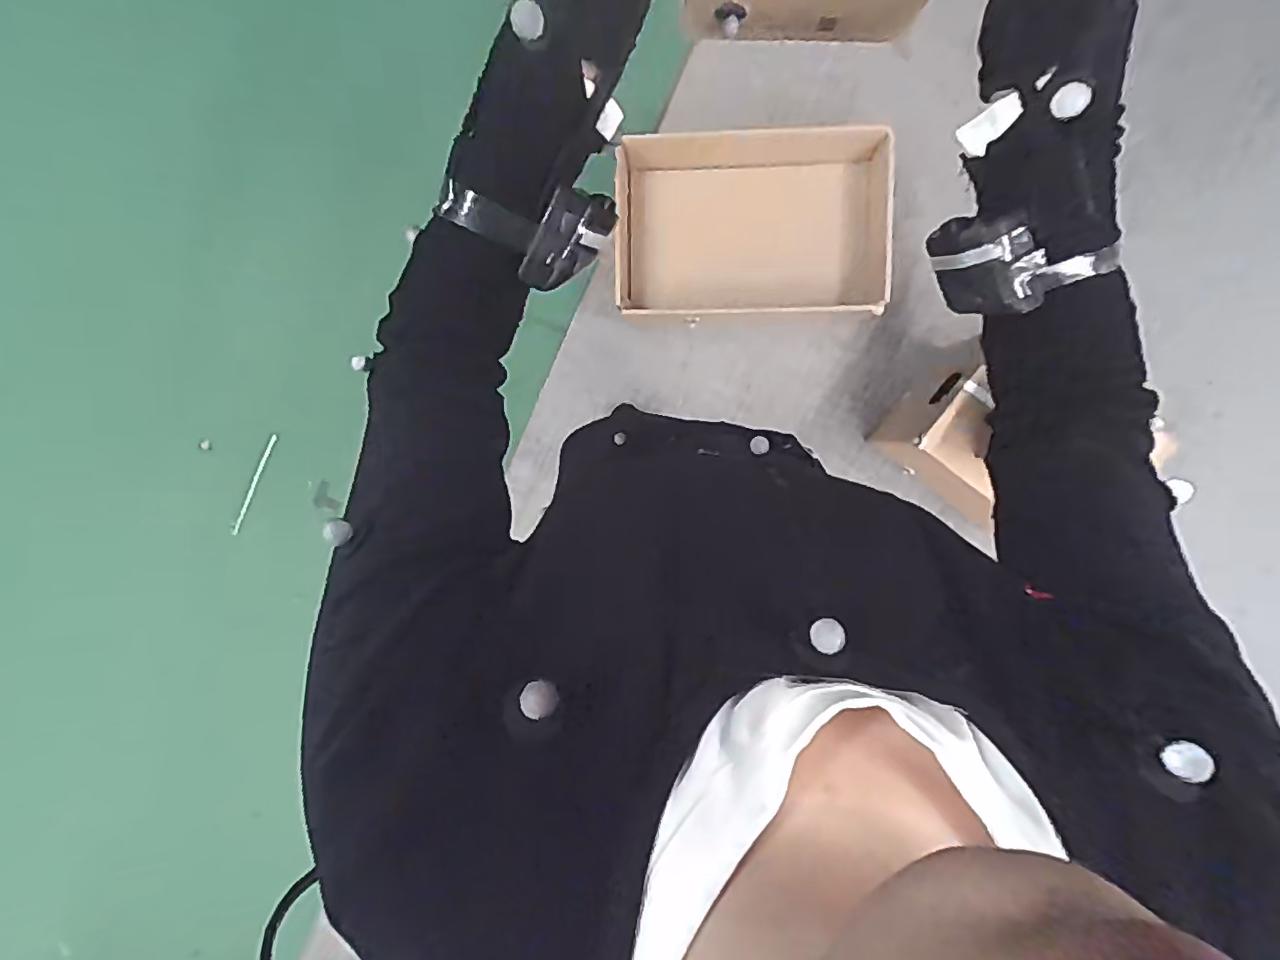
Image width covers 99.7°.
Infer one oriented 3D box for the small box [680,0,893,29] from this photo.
[{"bbox_3d":[0.100,-0.404,0.308,0.168,0.176,0.179,1,98,0],"label":"small box"}]
